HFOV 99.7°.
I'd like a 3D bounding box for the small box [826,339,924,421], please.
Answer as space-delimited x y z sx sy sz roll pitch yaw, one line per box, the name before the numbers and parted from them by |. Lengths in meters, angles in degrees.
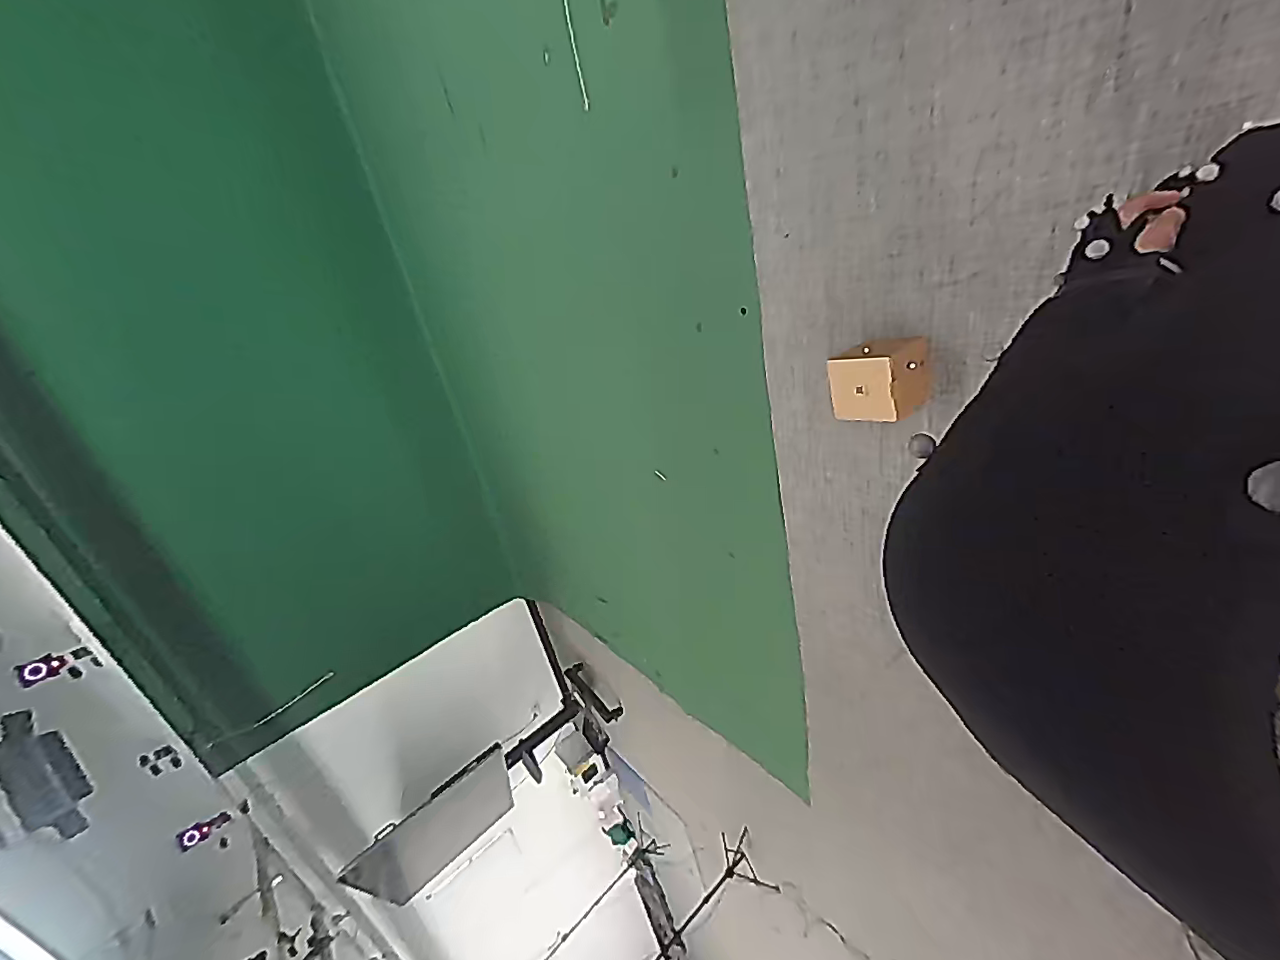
small box | 0.617 -0.262 1.406 0.179 0.176 0.168 12 123 53
